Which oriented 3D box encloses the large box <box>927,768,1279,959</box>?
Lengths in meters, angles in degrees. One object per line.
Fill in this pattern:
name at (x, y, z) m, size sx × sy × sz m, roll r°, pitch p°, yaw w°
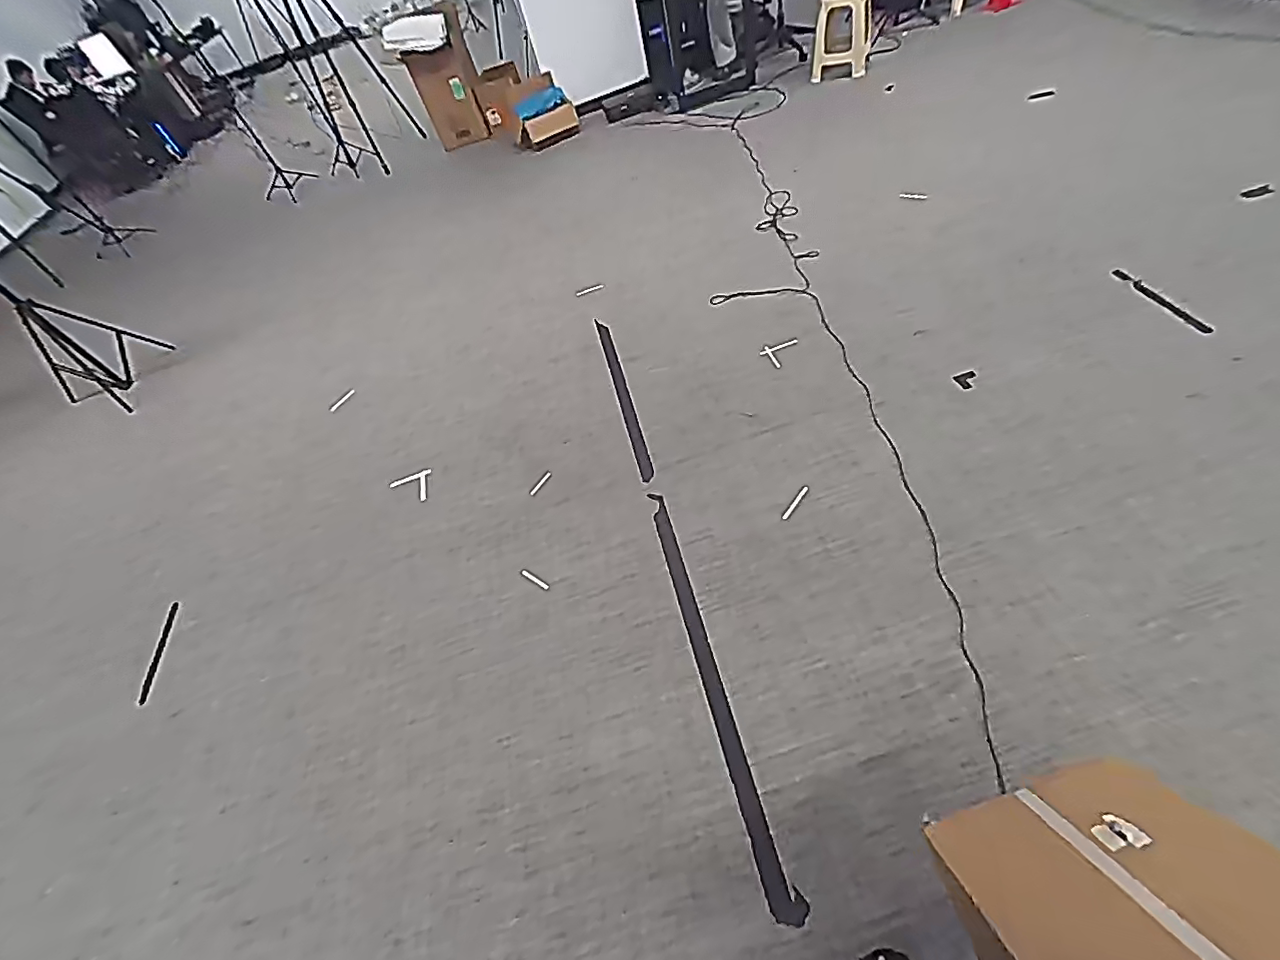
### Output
large box at (0.620, 0.614, 0.611) m, size 0.320 × 0.408 × 0.320 m, roll -20°, pitch 86°, yaw 3°
